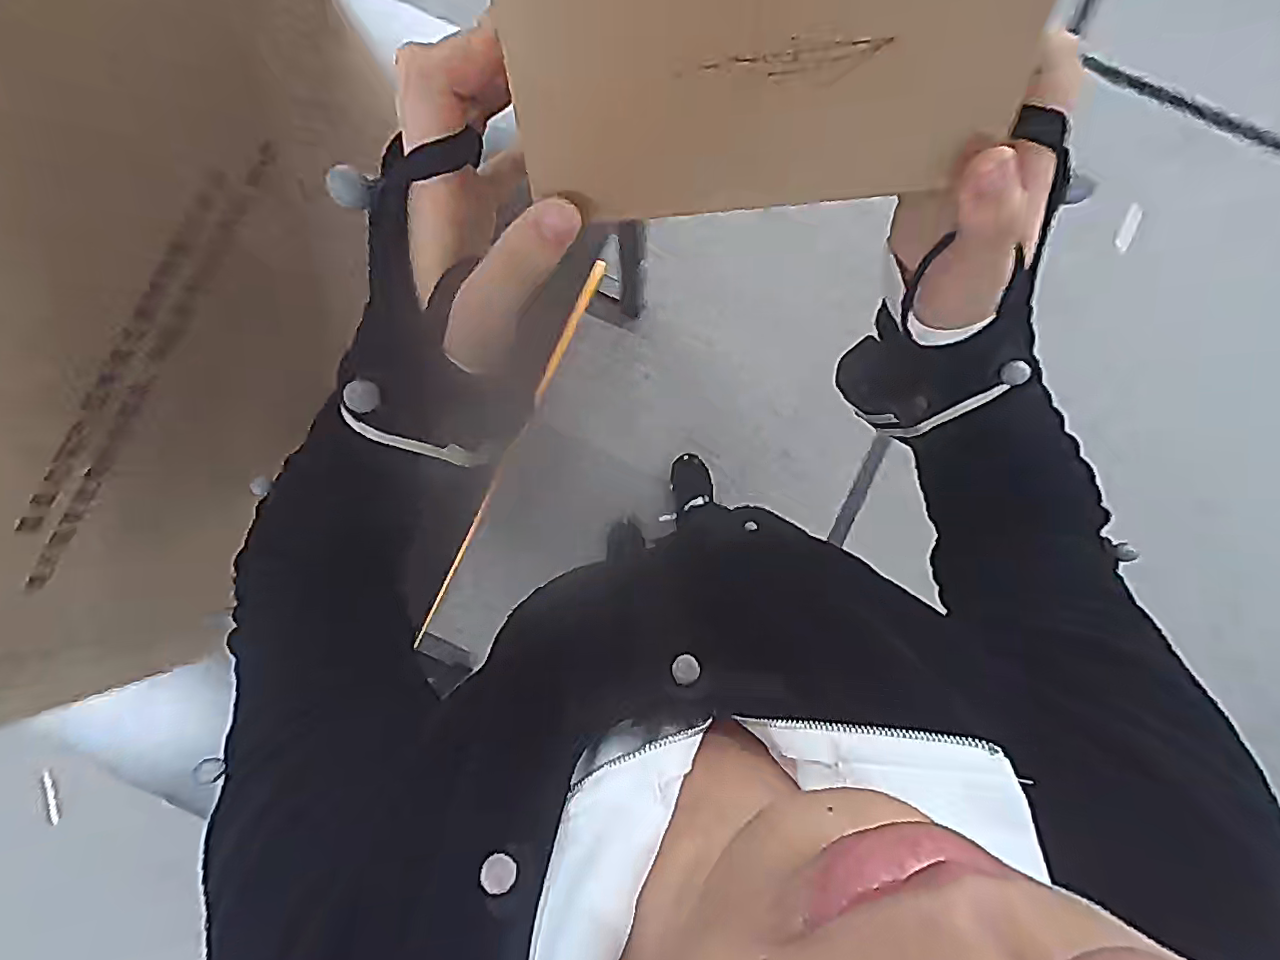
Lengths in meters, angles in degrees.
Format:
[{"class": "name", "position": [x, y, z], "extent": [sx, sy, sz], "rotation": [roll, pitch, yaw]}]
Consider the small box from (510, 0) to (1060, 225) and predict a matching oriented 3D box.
[{"class": "small box", "position": [0.039, -0.218, 0.196], "extent": [0.168, 0.179, 0.176], "rotation": [-3, 46, 2]}]
